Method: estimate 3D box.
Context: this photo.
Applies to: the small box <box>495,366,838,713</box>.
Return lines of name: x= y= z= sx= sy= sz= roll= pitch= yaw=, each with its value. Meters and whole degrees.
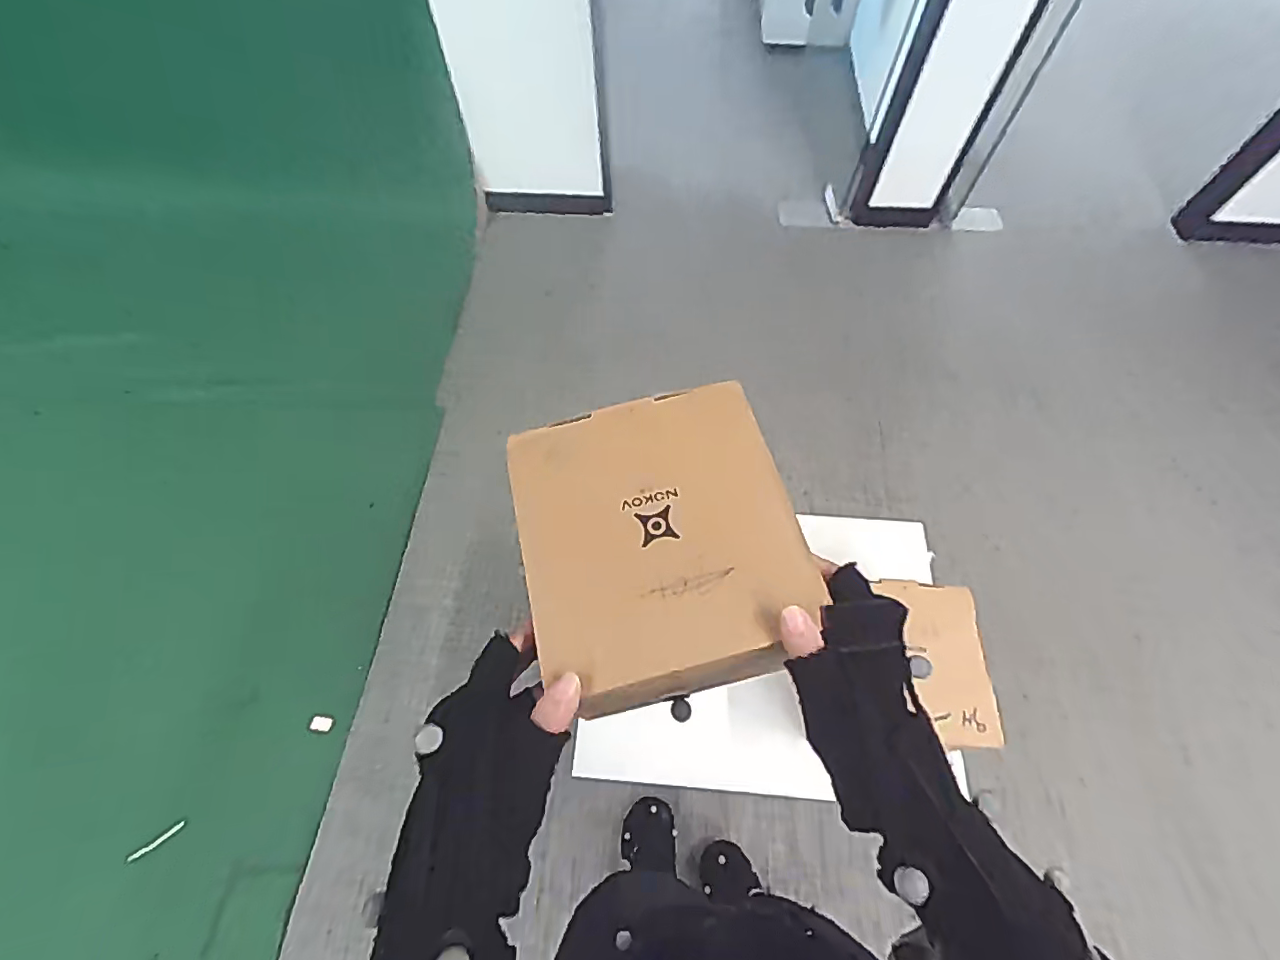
small box: x=0.010 y=0.053 z=0.385 sx=0.168 sy=0.176 sz=0.179 roll=-15 pitch=65 yaw=-3

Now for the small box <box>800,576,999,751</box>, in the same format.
small box: x=0.304 y=0.235 z=0.681 sx=0.168 sy=0.176 sz=0.179 roll=3 pitch=62 yaw=3
